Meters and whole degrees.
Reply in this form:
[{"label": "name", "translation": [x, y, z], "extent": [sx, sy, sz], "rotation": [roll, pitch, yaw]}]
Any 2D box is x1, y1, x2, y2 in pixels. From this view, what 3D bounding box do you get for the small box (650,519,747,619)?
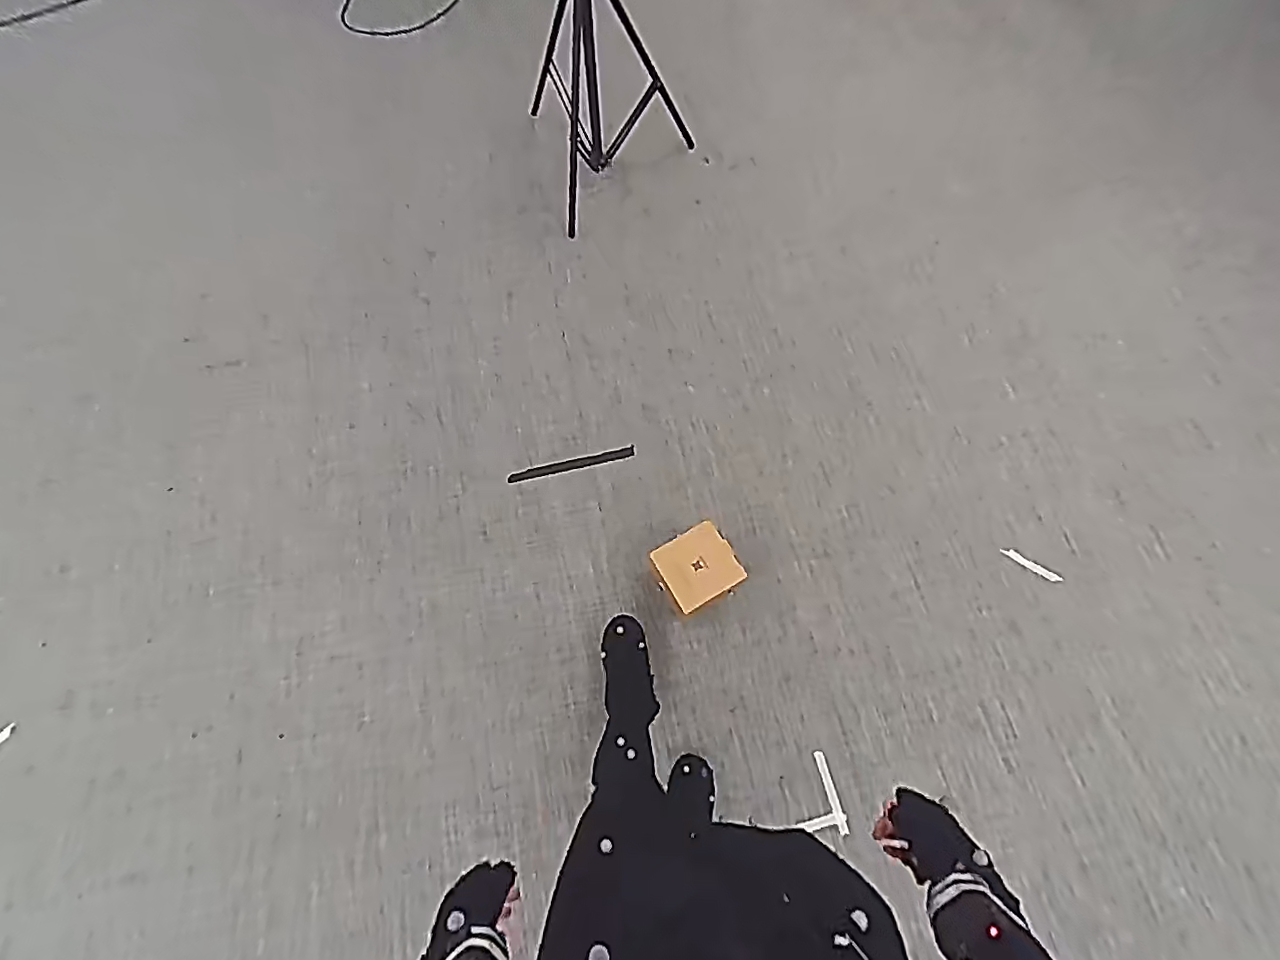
[{"label": "small box", "translation": [0.136, 0.226, 1.338], "extent": [0.179, 0.176, 0.168], "rotation": [-30, 71, -9]}]
